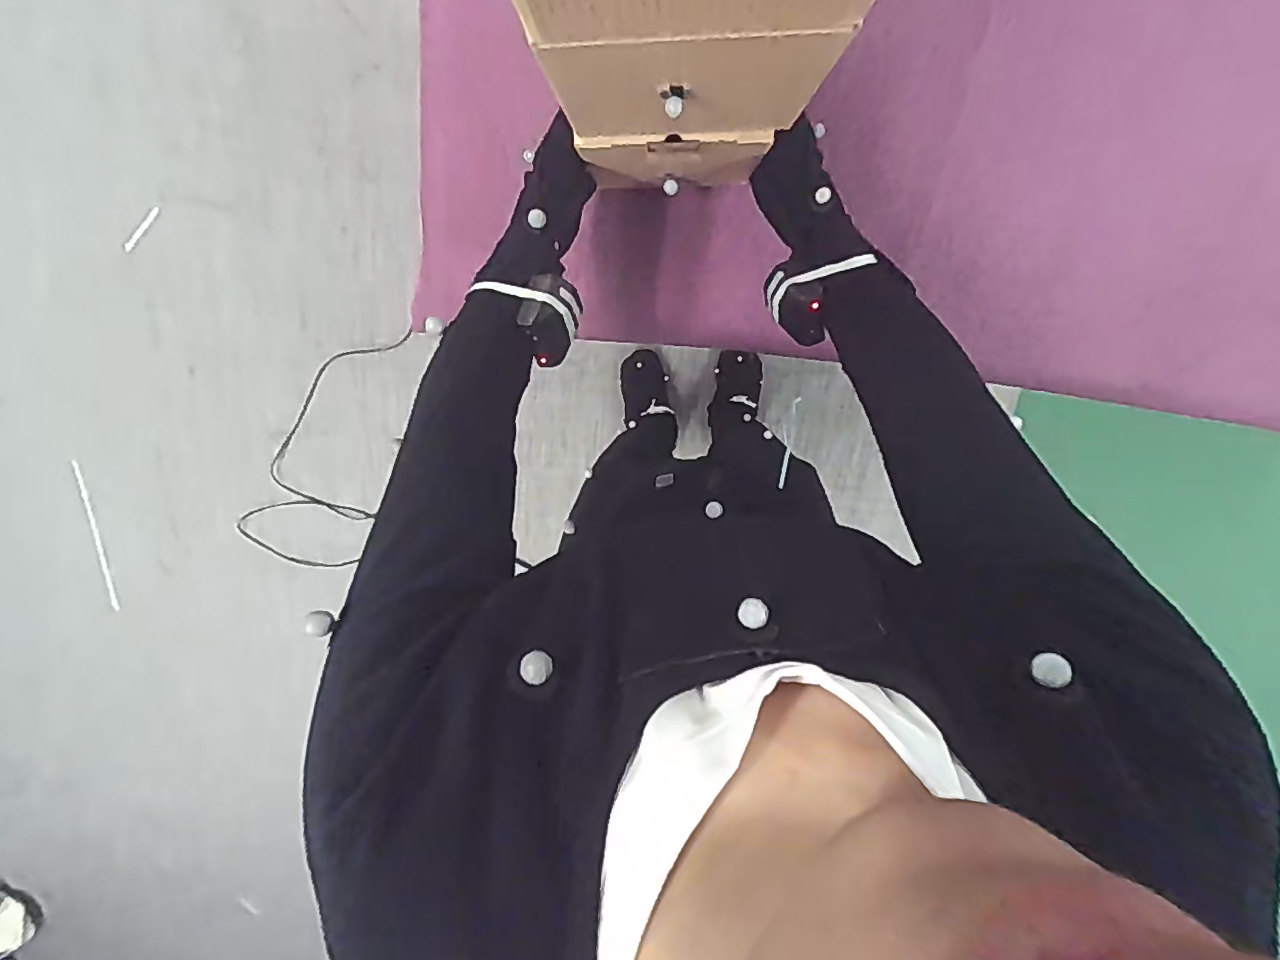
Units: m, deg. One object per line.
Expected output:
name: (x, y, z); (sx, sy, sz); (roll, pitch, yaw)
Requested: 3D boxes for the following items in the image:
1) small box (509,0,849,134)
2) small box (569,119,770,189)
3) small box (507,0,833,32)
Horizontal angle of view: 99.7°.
small box: (0.024, -0.334, 0.332); (0.179, 0.176, 0.168); (2, 106, 2)
small box: (0.027, -0.381, 0.493); (0.168, 0.176, 0.179); (0, 108, 4)
small box: (0.013, -0.287, 0.180); (0.179, 0.176, 0.168); (-1, 107, 3)
